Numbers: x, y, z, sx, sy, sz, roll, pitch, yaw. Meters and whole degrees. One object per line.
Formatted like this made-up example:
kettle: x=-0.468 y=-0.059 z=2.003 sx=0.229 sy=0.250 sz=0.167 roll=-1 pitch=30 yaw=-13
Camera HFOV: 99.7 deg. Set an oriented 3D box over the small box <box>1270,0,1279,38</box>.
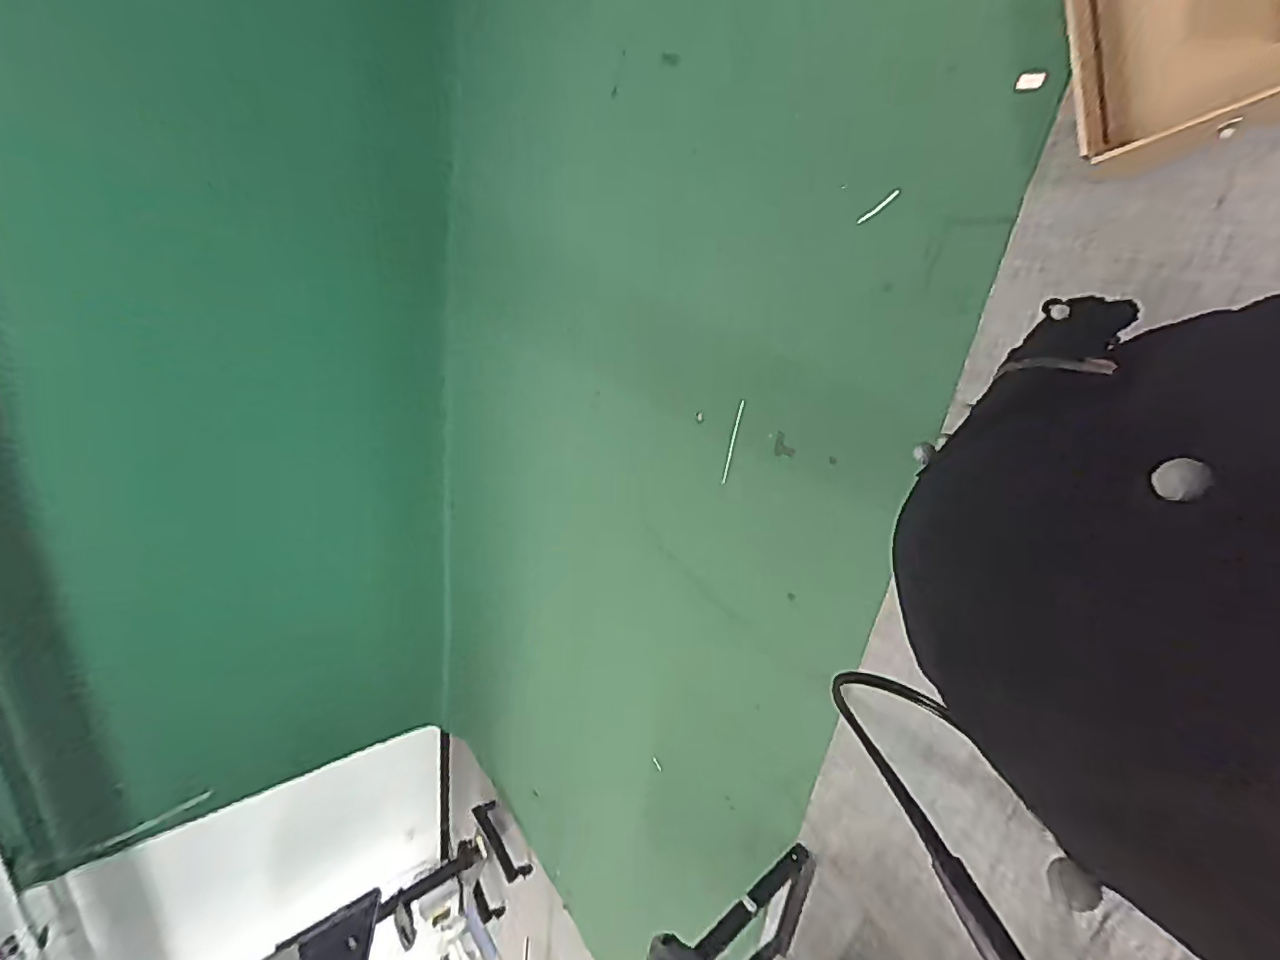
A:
small box: x=1.039 y=-0.775 z=0.768 sx=0.168 sy=0.176 sz=0.179 roll=9 pitch=102 yaw=50
